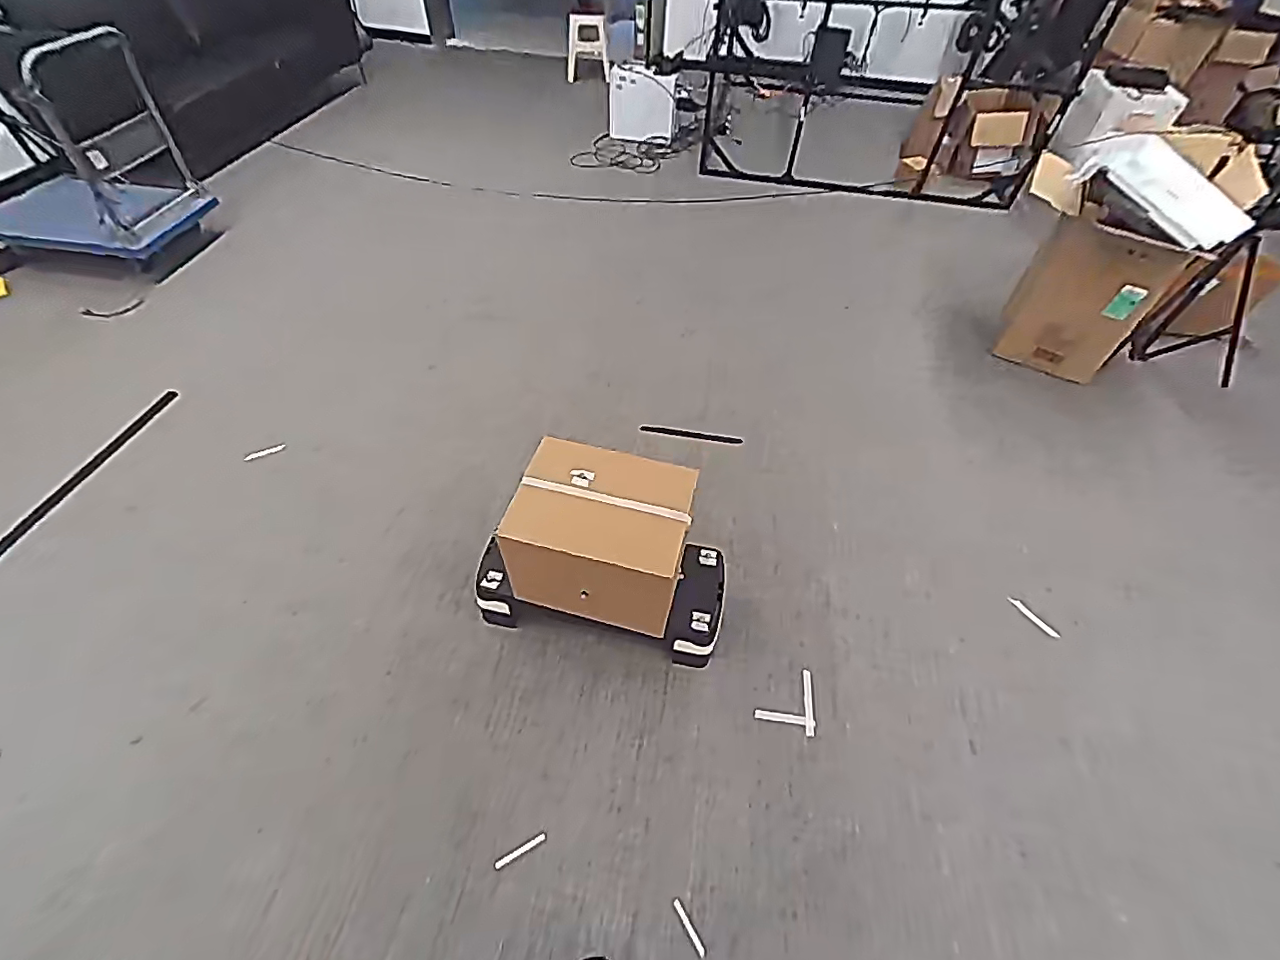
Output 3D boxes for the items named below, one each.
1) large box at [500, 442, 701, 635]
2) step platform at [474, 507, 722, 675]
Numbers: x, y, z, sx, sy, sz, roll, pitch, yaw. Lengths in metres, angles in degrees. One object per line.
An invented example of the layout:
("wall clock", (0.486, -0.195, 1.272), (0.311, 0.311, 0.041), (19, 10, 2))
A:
("large box", (-0.079, 0.149, 1.352), (0.408, 0.320, 0.320), (12, 50, 9))
("step platform", (-0.114, 0.298, 1.536), (0.684, 0.204, 0.286), (14, 51, 10))
